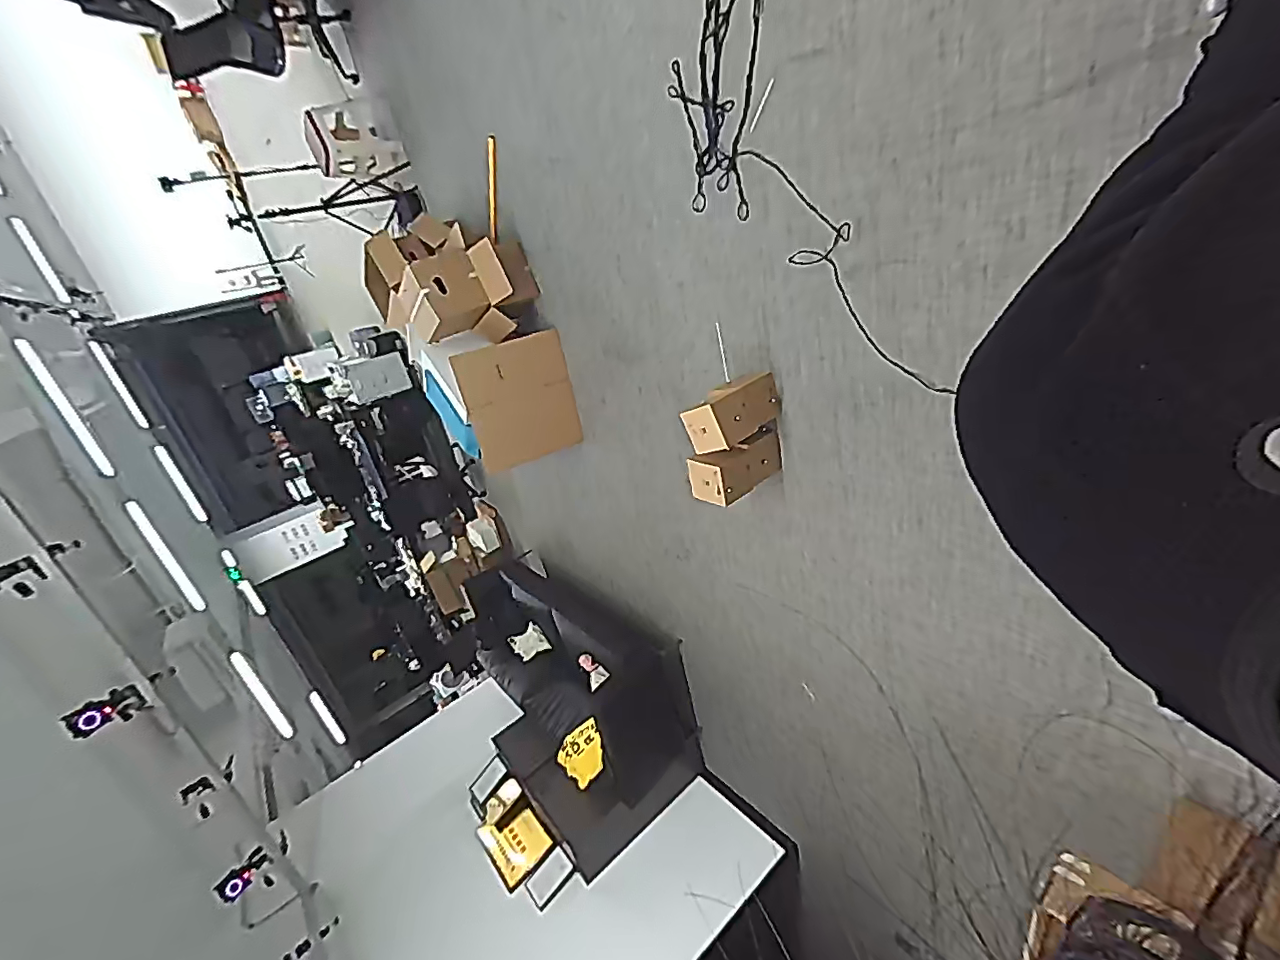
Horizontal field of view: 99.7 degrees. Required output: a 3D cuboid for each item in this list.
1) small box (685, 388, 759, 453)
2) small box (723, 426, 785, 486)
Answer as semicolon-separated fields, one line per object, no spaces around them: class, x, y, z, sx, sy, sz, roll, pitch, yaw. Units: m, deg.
small box;0.297;-0.212;1.919;0.179;0.176;0.168;-8;108;59
small box;0.446;-0.103;2.111;0.168;0.176;0.179;18;130;51
